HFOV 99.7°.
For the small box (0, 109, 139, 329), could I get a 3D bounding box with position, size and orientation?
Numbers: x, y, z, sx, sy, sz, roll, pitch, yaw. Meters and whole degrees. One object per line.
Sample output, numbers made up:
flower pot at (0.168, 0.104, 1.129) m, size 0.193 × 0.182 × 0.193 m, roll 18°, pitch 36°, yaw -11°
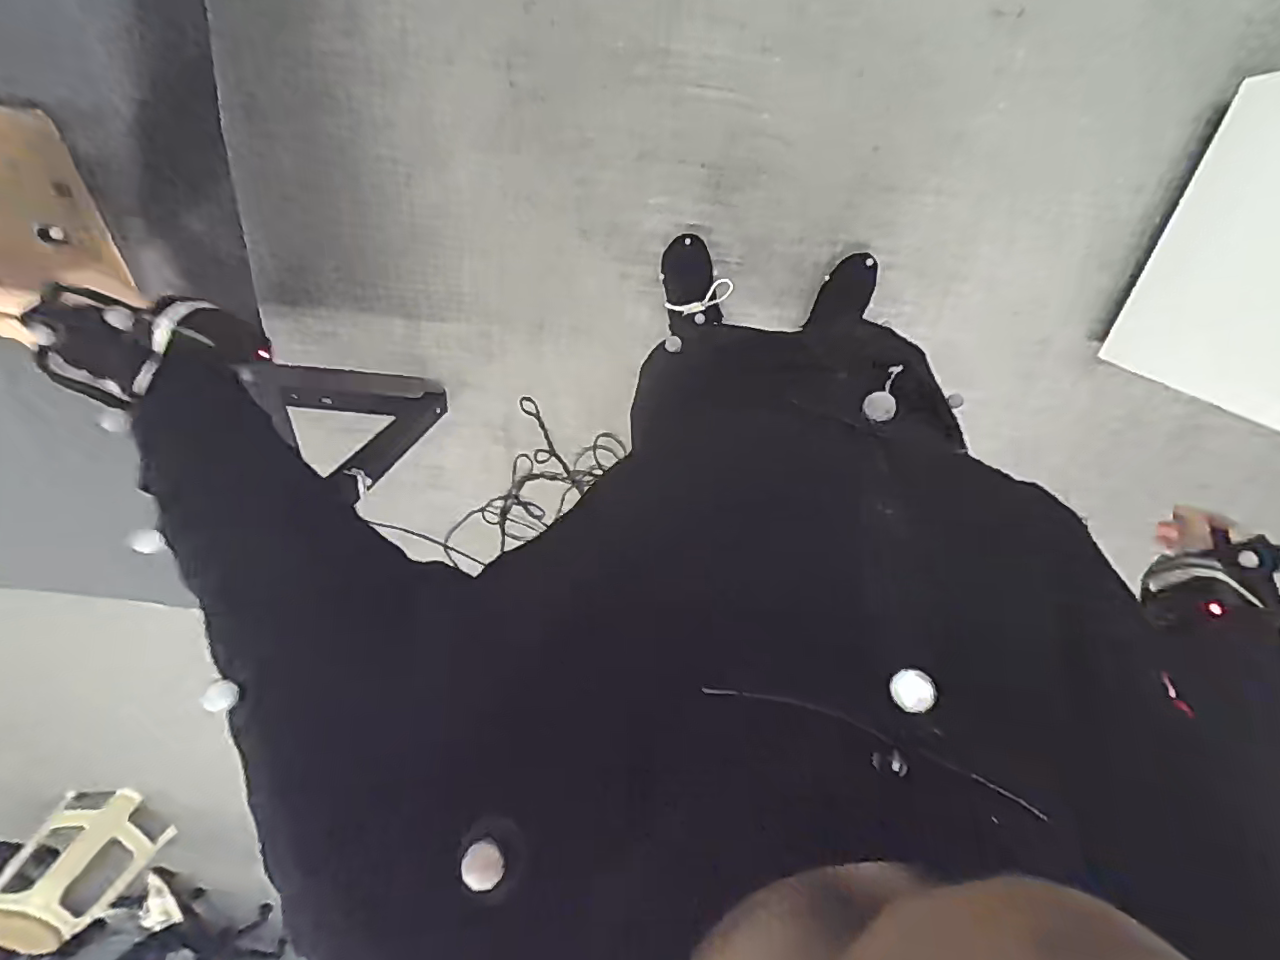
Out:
small box at (-0.604, -0.213, 0.457) m, size 0.179 × 0.176 × 0.168 m, roll -4°, pitch 117°, yaw 6°
